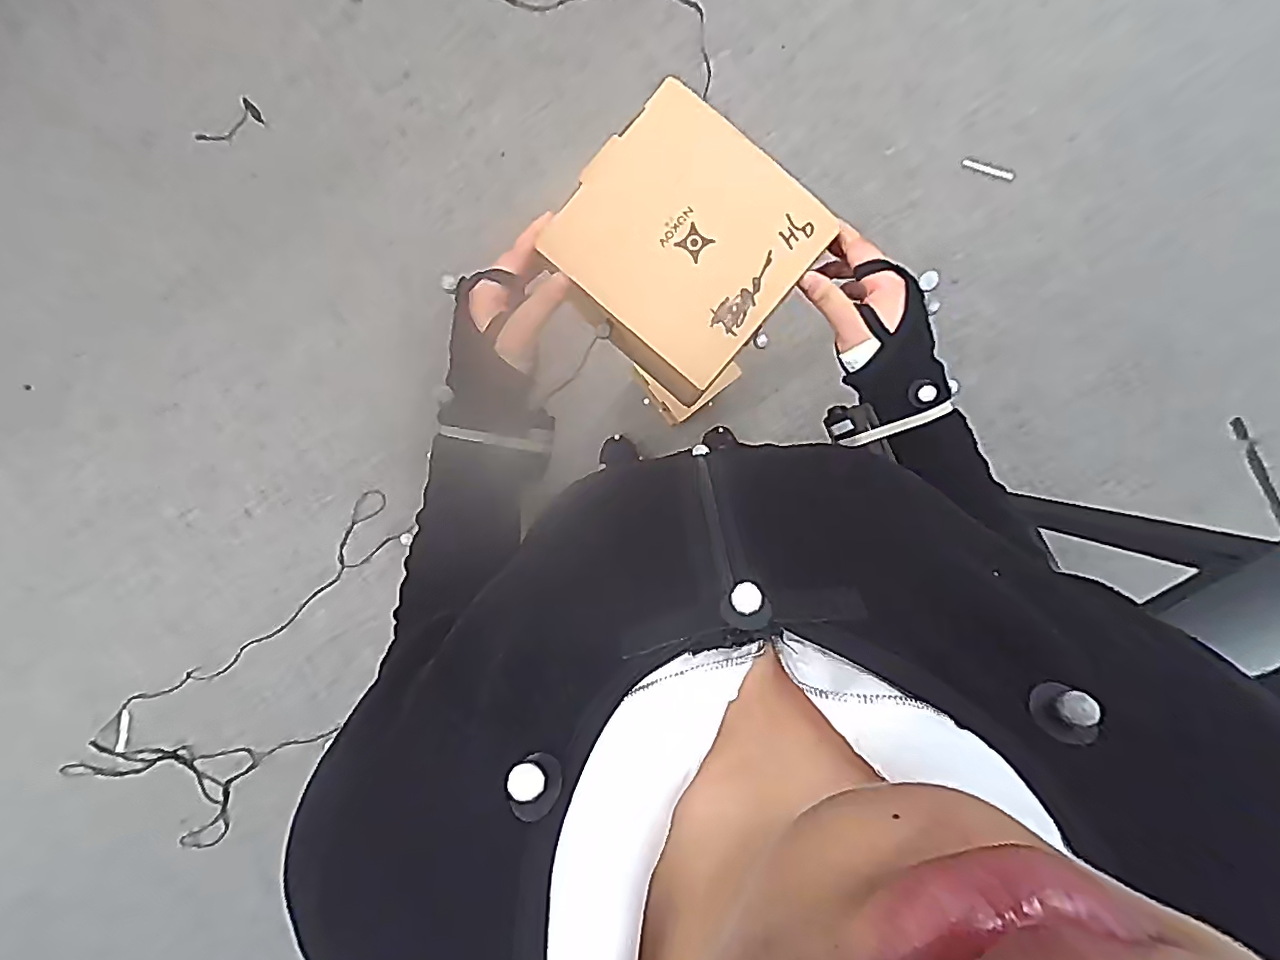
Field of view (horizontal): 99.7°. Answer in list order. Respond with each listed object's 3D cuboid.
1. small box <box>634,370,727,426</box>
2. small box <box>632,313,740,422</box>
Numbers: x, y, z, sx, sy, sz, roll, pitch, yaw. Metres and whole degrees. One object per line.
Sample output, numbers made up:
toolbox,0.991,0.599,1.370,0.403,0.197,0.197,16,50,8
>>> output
small box,0.099,-0.256,1.394,0.179,0.176,0.168,-35,94,5
small box,0.101,-0.246,1.232,0.179,0.176,0.168,-39,95,3
